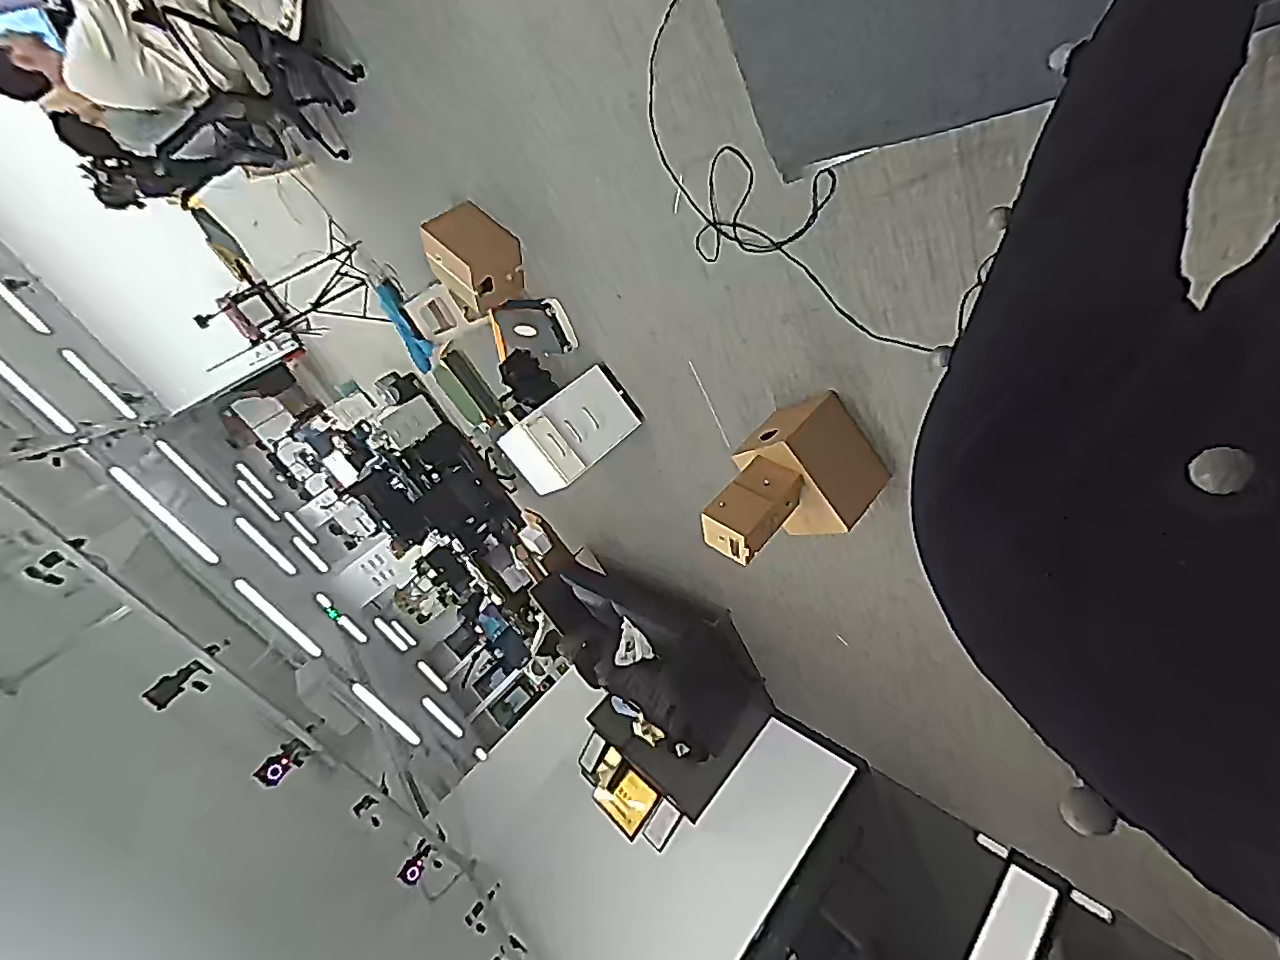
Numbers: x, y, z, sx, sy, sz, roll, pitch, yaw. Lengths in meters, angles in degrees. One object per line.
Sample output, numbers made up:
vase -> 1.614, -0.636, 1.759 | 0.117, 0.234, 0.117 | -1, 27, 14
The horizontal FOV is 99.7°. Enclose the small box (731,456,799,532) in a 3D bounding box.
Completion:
small box -> 0.440, 0.043, 1.894 | 0.179, 0.176, 0.168 | 27, 148, 33
